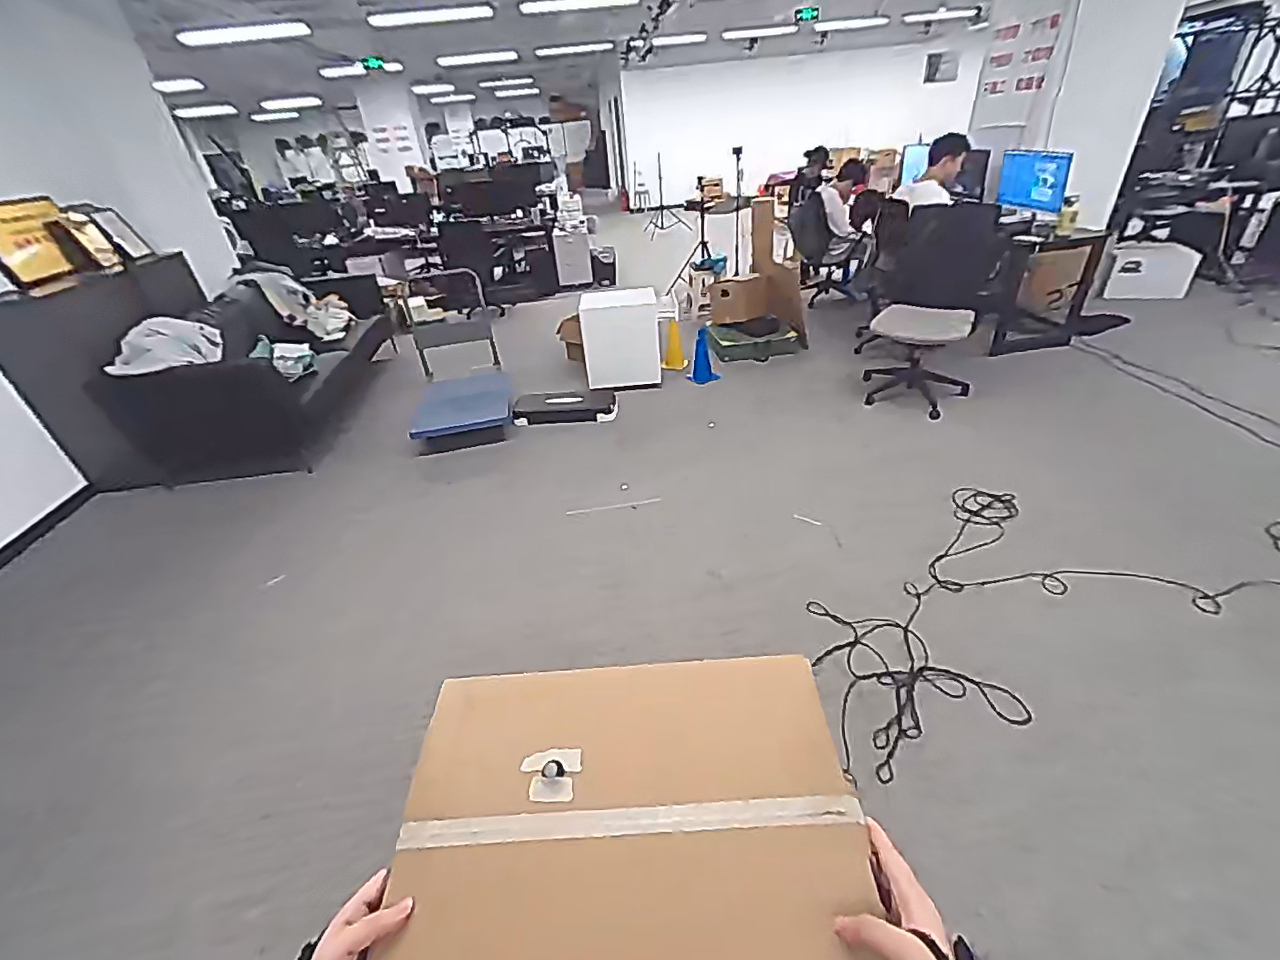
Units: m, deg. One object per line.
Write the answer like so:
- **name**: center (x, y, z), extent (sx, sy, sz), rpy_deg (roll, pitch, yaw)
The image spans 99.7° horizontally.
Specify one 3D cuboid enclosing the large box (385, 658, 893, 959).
- **large box**: center (0.009, 0.428, 0.581), extent (0.408, 0.320, 0.320), rpy_deg (-7, 39, 4)
